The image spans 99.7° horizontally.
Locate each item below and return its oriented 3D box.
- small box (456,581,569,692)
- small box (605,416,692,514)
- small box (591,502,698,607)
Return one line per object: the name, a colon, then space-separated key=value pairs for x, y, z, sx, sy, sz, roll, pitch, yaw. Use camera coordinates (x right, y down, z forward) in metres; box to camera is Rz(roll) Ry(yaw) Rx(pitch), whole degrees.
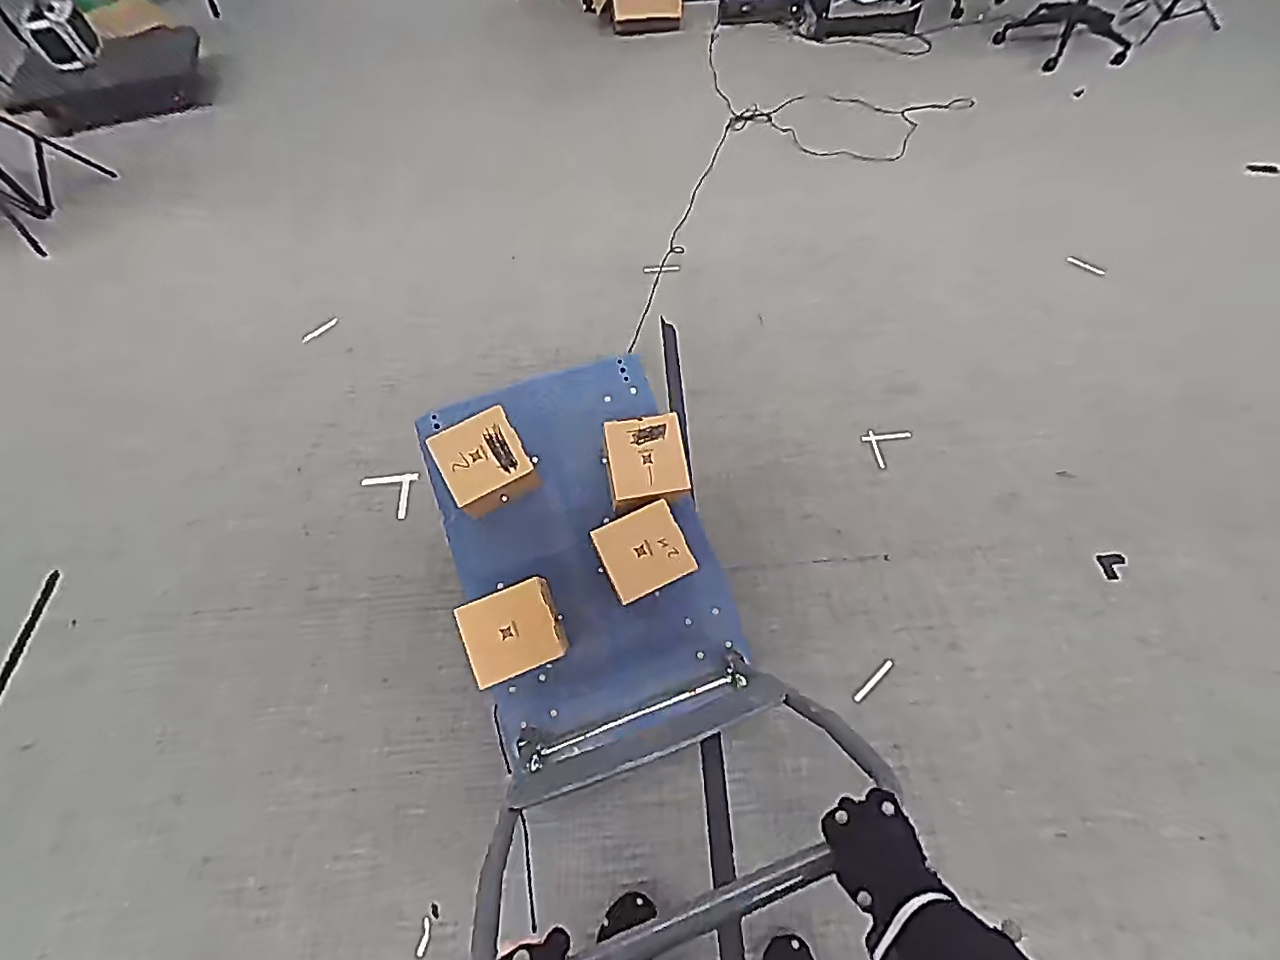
small box: x=-0.260 y=0.325 z=1.142 sx=0.179 sy=0.176 sz=0.168 roll=-21 pitch=80 yaw=-10
small box: x=0.012 y=-0.029 z=1.237 sx=0.168 sy=0.176 sz=0.179 roll=-9 pitch=79 yaw=-5
small box: x=0.006 y=0.169 z=1.193 sx=0.179 sy=0.176 sz=0.168 roll=-25 pitch=81 yaw=-9
